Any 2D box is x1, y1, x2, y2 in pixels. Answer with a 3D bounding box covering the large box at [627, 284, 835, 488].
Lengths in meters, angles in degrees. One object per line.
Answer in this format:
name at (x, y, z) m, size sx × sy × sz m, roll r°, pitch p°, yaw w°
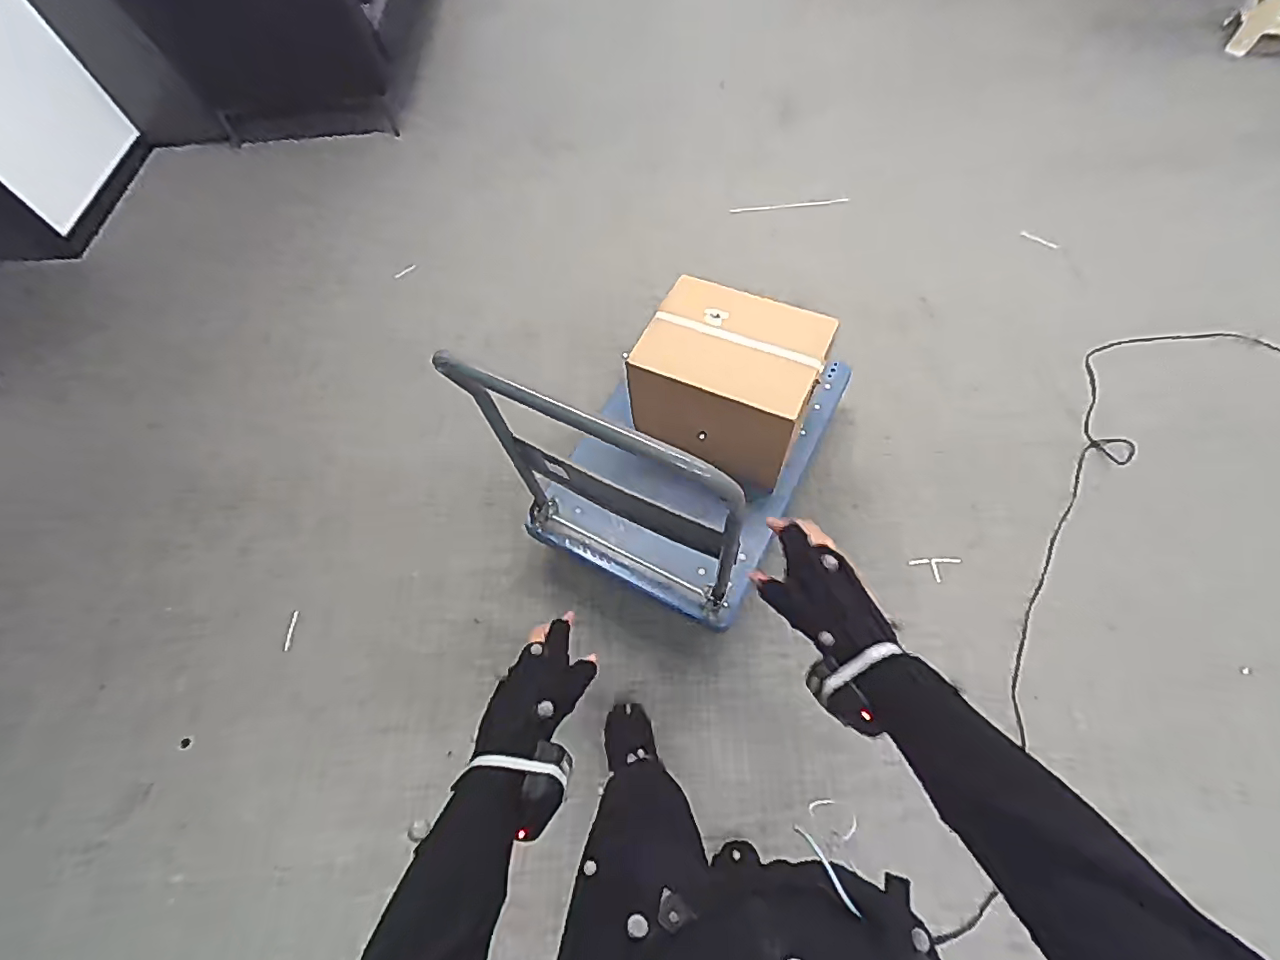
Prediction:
large box at (0.225, -0.234, 1.377) m, size 0.408 × 0.320 × 0.320 m, roll 23°, pitch 64°, yaw 17°
